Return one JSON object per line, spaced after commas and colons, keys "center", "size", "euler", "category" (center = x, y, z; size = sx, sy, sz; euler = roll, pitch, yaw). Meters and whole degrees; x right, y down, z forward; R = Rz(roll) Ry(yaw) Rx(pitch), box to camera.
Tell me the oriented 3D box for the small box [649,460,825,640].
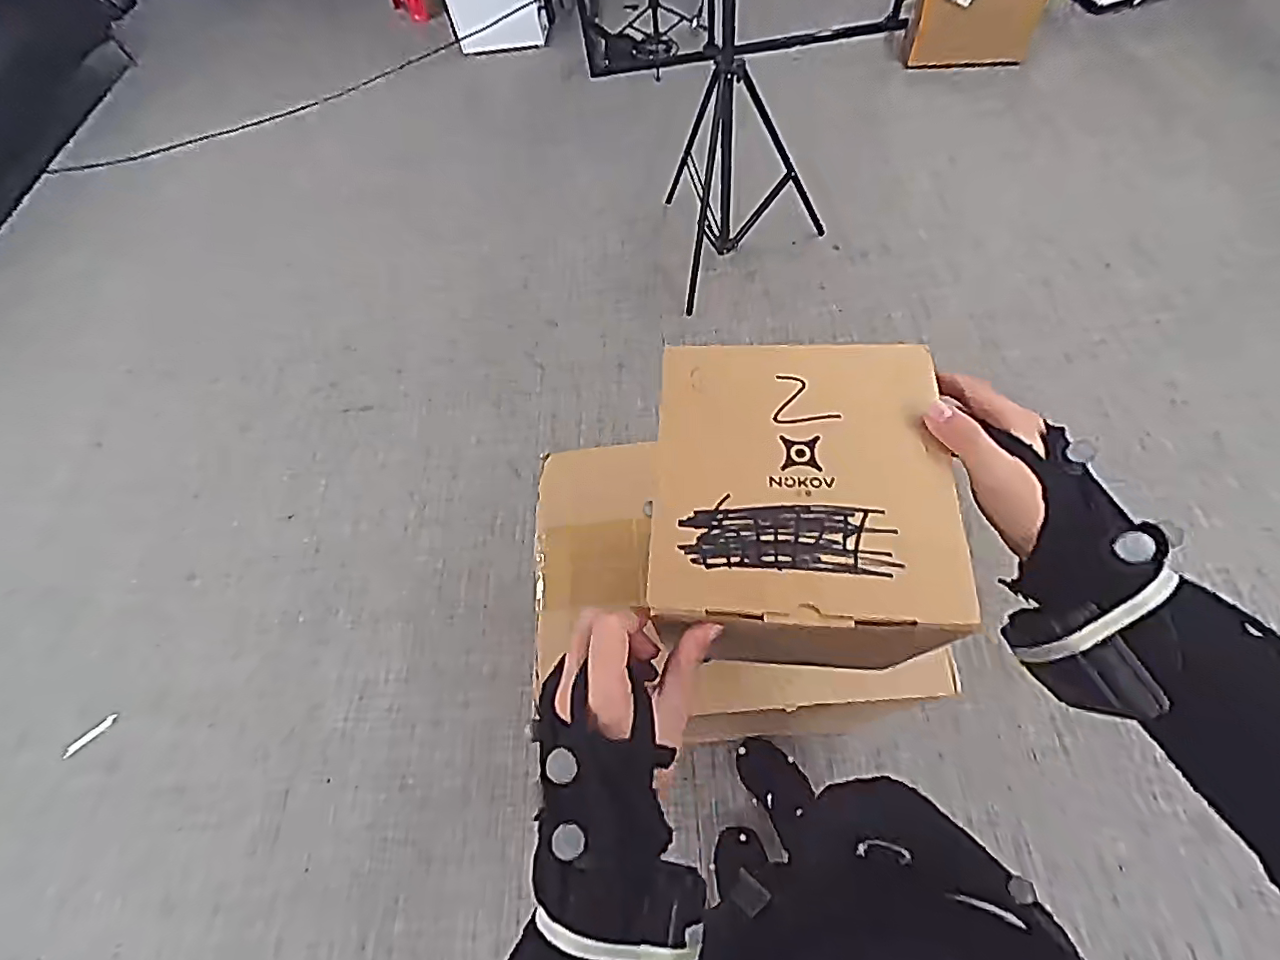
{"center": [0.109, 0.094, 0.664], "size": [0.179, 0.176, 0.168], "euler": [-6, 61, 5], "category": "small box"}
